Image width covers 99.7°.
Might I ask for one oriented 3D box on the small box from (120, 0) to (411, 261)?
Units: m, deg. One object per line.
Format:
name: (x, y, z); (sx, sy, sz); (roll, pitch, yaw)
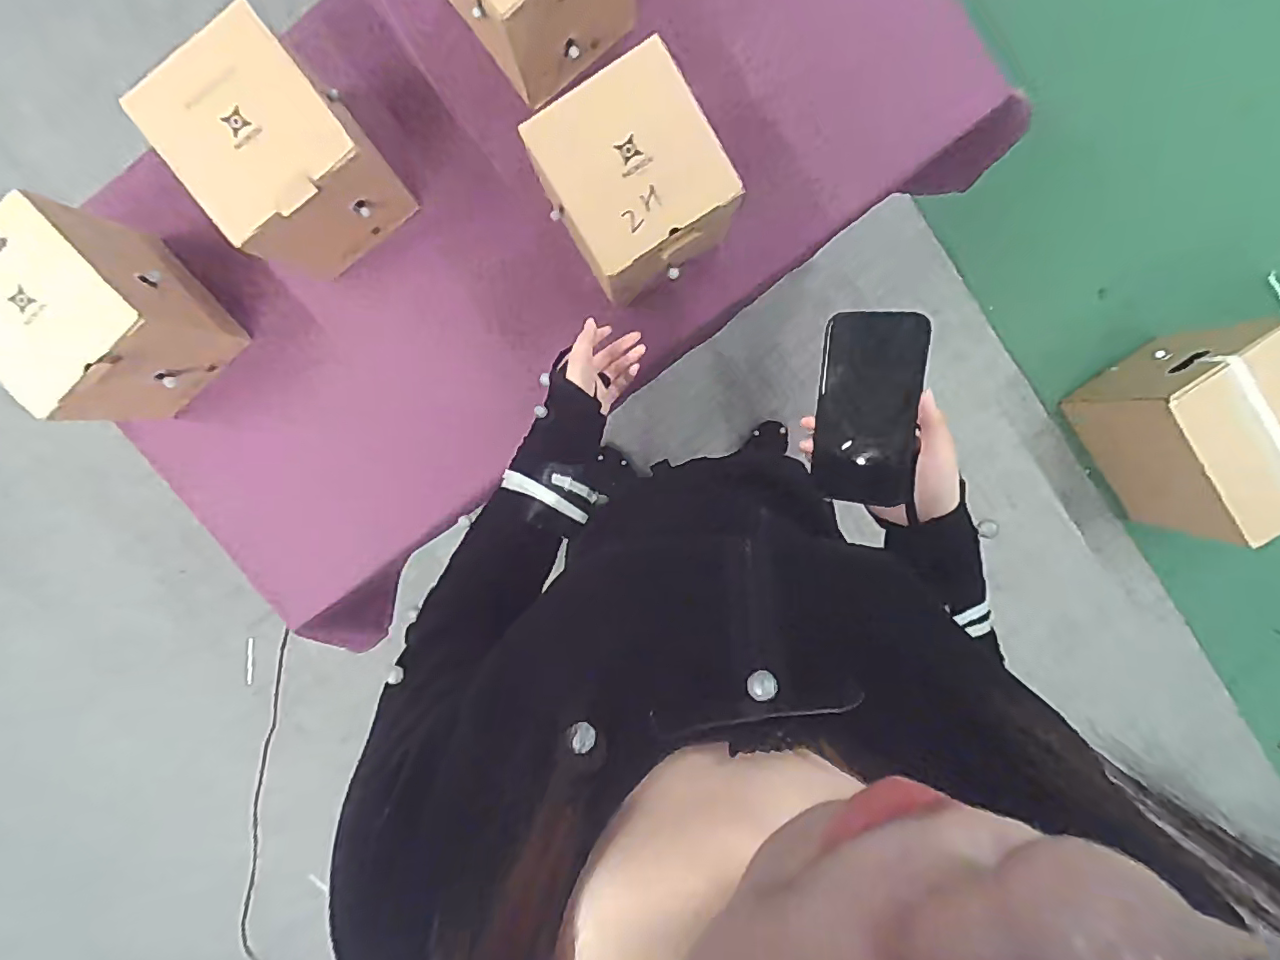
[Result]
small box: (-0.401, -0.376, 0.618); (0.168, 0.176, 0.179); (-36, 96, 4)

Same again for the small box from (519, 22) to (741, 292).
small box: (-0.010, -0.344, 0.619); (0.168, 0.176, 0.179); (-31, 97, 5)

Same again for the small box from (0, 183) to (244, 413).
small box: (-0.635, -0.200, 0.643); (0.168, 0.176, 0.179); (-41, 97, 5)

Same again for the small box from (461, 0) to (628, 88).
small box: (-0.126, -0.589, 0.586); (0.168, 0.176, 0.179); (-38, 97, 5)
